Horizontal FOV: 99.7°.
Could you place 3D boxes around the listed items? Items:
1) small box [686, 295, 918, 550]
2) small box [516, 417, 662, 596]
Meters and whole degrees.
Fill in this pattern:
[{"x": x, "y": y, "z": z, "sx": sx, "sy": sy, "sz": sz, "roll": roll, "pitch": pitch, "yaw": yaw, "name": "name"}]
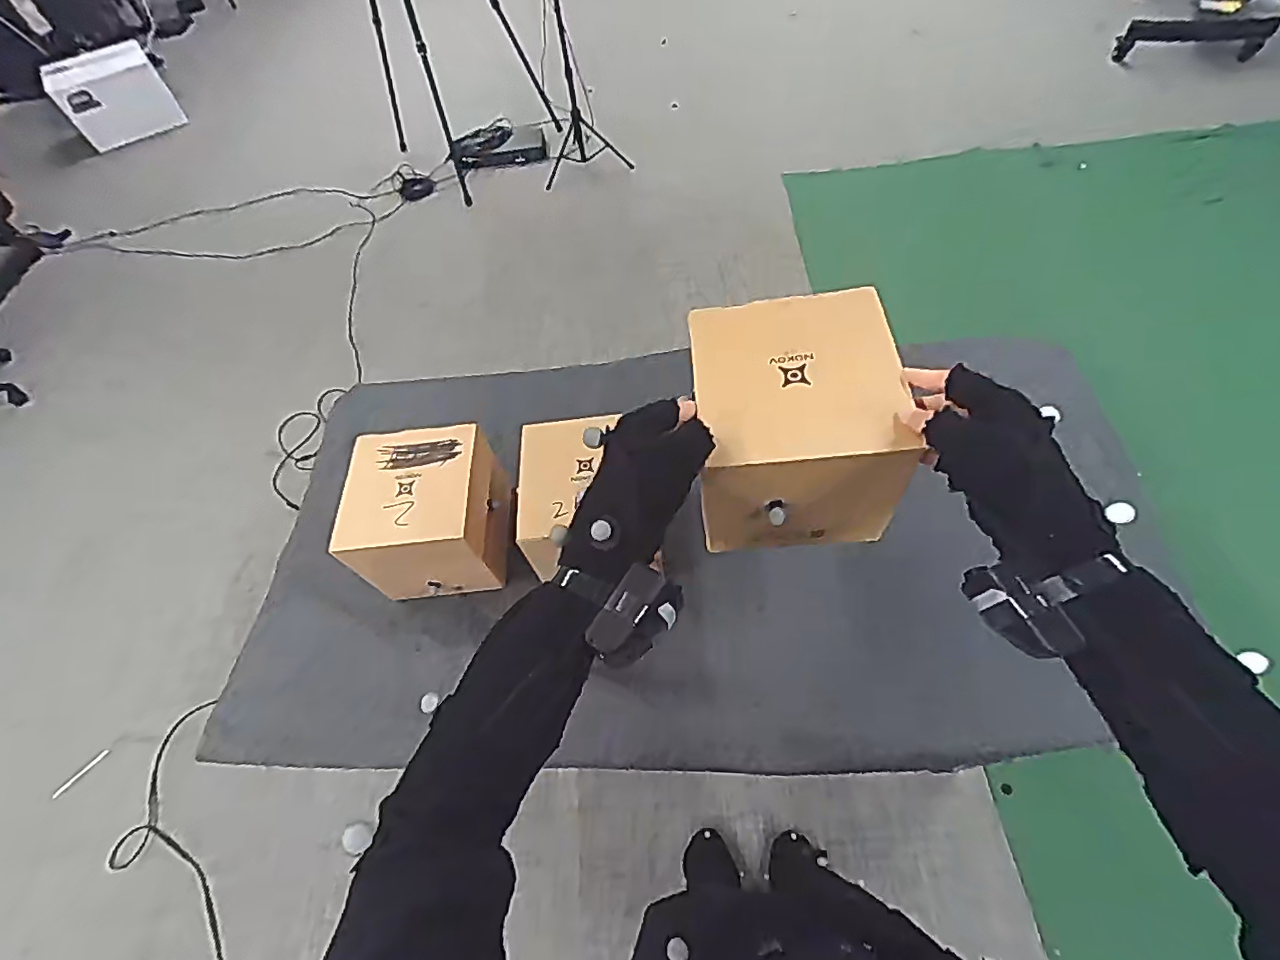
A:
[{"x": 0.137, "y": -0.041, "z": 0.512, "sx": 0.168, "sy": 0.176, "sz": 0.179, "roll": -5, "pitch": 58, "yaw": 7, "name": "small box"}, {"x": -0.061, "y": 0.040, "z": 0.735, "sx": 0.168, "sy": 0.176, "sz": 0.179, "roll": -6, "pitch": 57, "yaw": 2, "name": "small box"}]
